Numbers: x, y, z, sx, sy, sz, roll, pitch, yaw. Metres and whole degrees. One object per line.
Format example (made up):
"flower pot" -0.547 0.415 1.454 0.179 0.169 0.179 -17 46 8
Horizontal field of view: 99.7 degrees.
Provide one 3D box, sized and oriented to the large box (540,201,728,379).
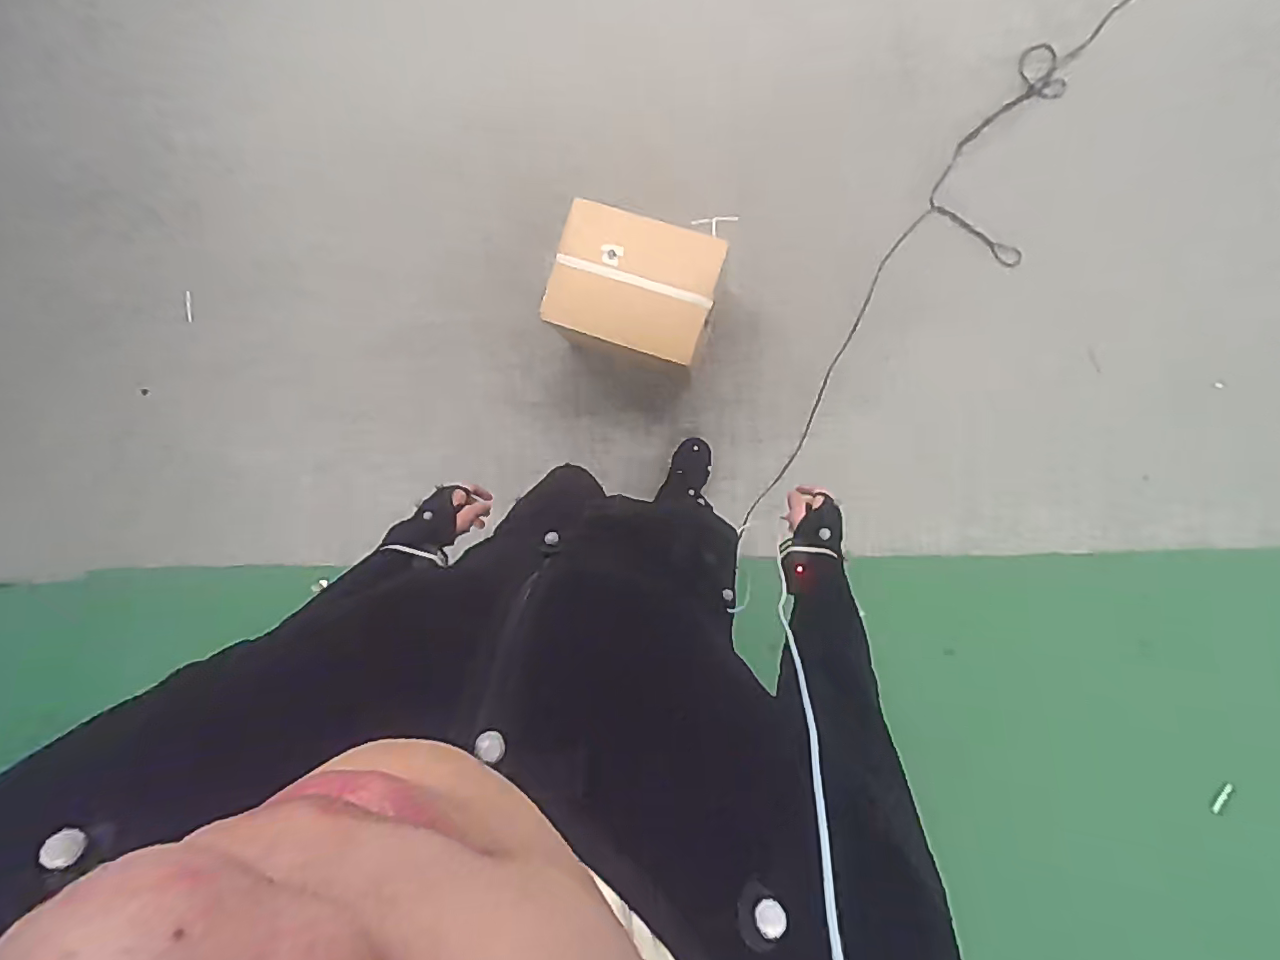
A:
"large box" 0.002 -0.492 1.468 0.408 0.320 0.320 20 94 7
